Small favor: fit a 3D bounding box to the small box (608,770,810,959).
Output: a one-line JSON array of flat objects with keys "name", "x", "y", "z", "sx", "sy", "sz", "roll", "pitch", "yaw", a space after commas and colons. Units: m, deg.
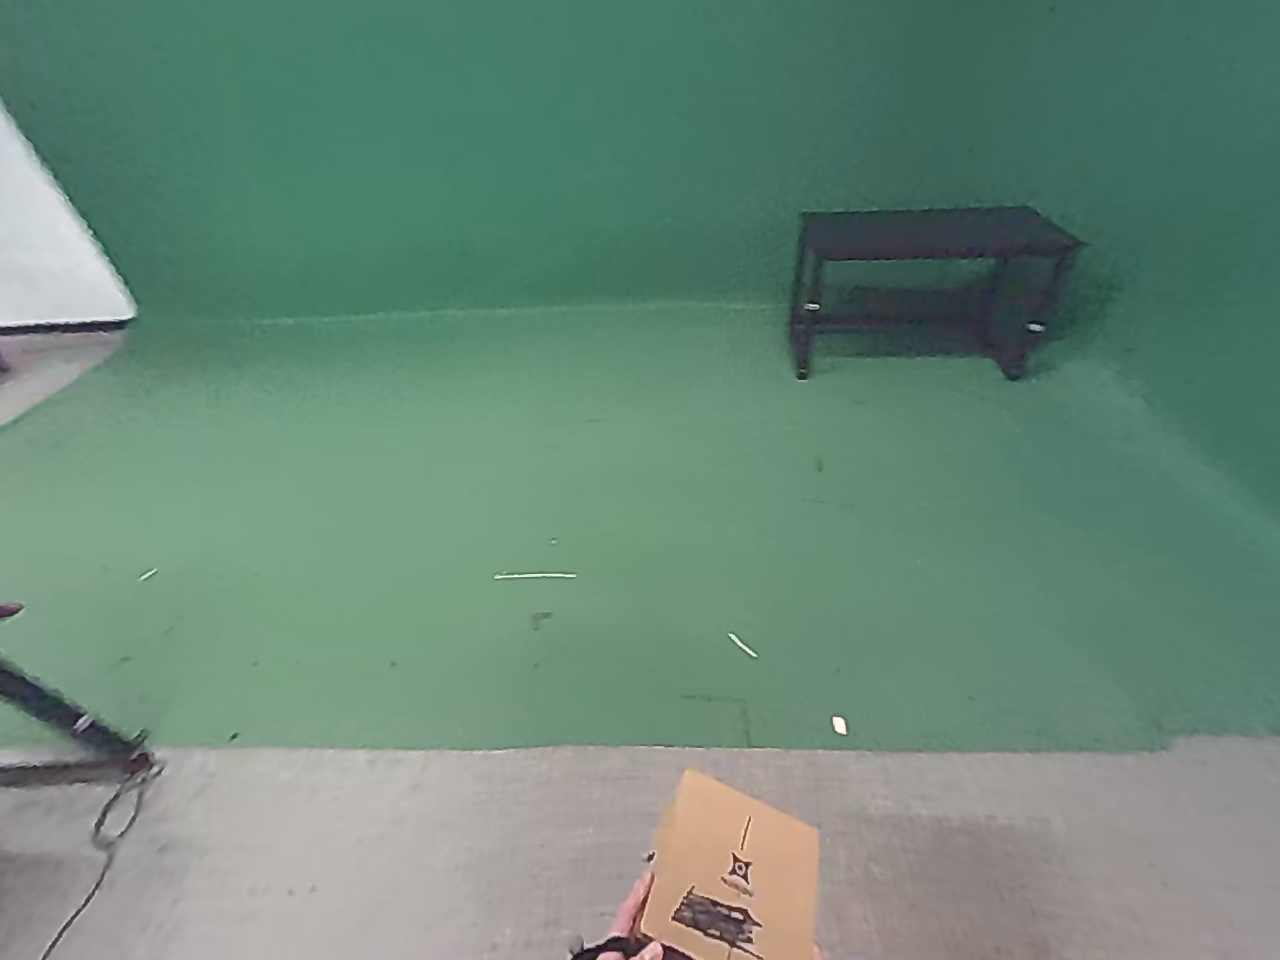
[{"name": "small box", "x": 0.074, "y": 0.479, "z": 0.604, "sx": 0.168, "sy": 0.176, "sz": 0.179, "roll": 21, "pitch": 33, "yaw": 10}]
